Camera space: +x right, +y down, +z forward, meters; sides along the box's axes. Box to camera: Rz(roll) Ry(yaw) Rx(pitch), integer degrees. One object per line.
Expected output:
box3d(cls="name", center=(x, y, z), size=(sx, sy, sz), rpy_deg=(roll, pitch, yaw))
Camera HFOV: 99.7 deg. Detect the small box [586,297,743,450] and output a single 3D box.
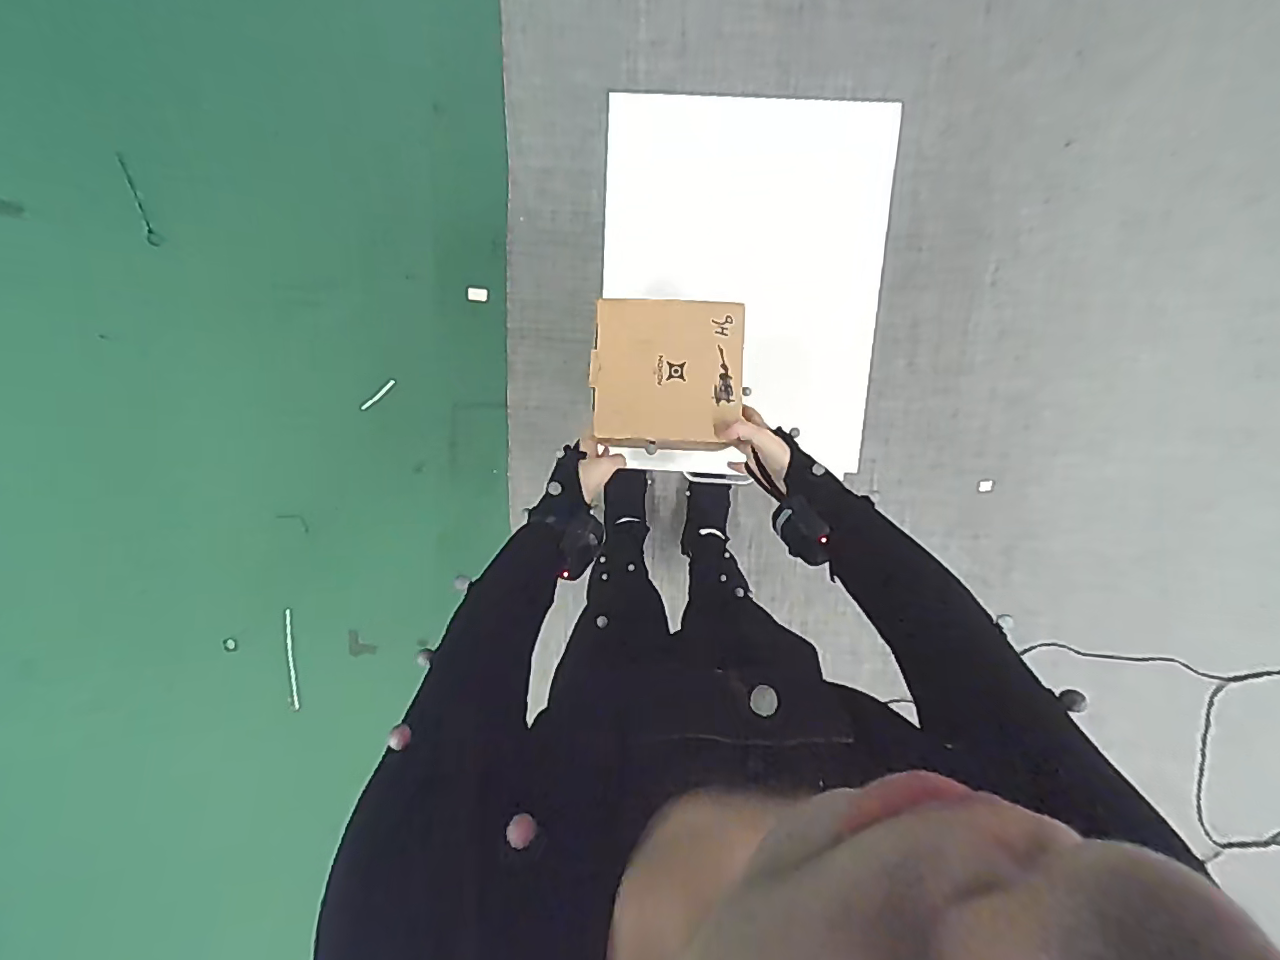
box3d(cls="small box", center=(0.030, -0.127, 0.706), size=(0.179, 0.176, 0.168), rpy_deg=(3, 90, 0))
